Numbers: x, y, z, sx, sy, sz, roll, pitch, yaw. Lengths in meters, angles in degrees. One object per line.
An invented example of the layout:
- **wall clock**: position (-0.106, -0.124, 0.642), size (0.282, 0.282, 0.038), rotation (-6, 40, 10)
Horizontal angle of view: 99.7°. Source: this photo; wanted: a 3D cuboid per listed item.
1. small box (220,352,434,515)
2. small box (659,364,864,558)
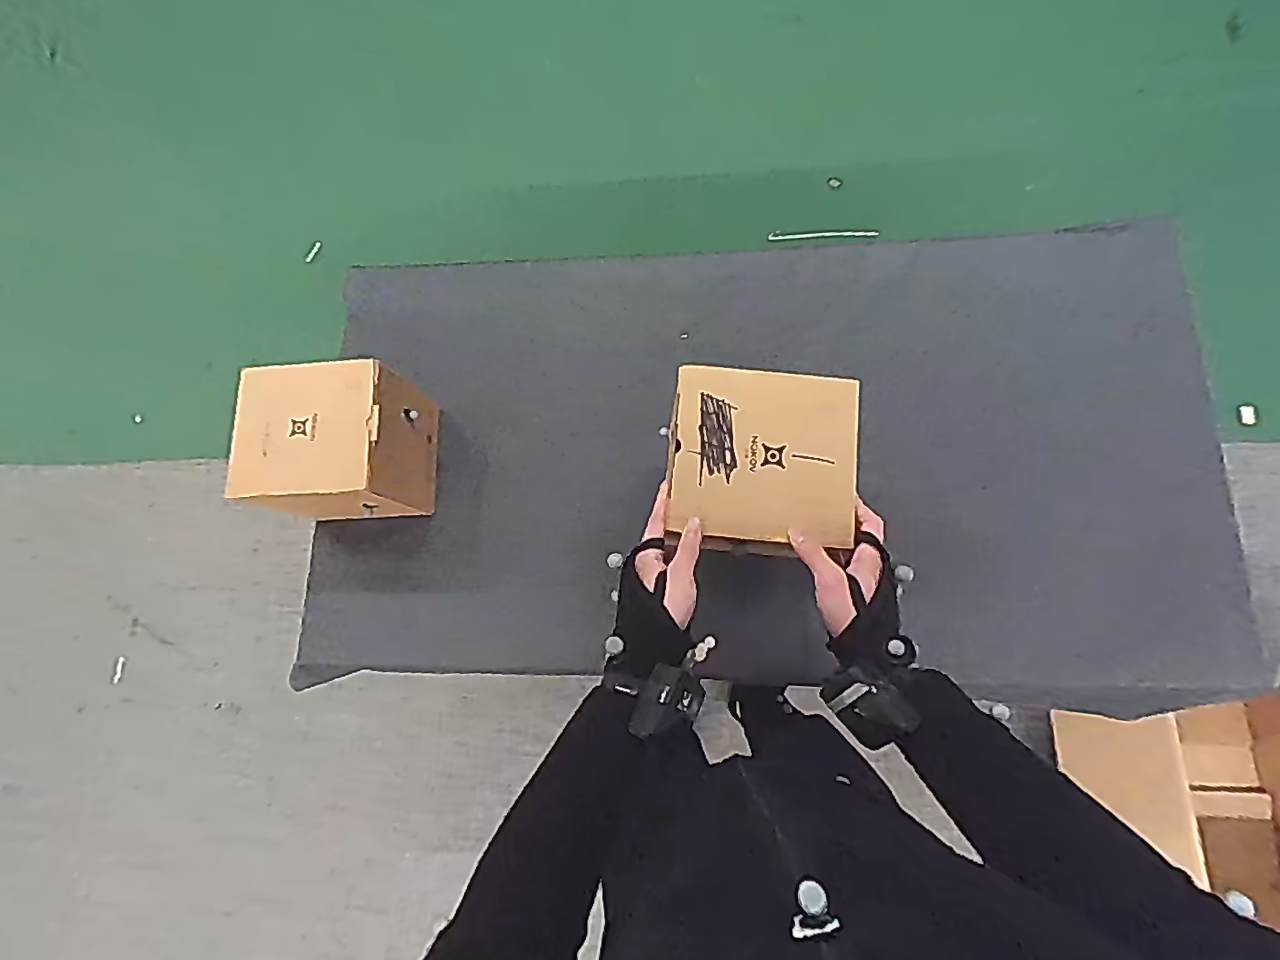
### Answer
- **small box**: position (-0.387, -0.050, 0.702), size (0.179, 0.176, 0.168), rotation (-4, 76, 6)
- **small box**: position (0.118, -0.009, 0.587), size (0.179, 0.176, 0.168), rotation (9, 82, 3)
